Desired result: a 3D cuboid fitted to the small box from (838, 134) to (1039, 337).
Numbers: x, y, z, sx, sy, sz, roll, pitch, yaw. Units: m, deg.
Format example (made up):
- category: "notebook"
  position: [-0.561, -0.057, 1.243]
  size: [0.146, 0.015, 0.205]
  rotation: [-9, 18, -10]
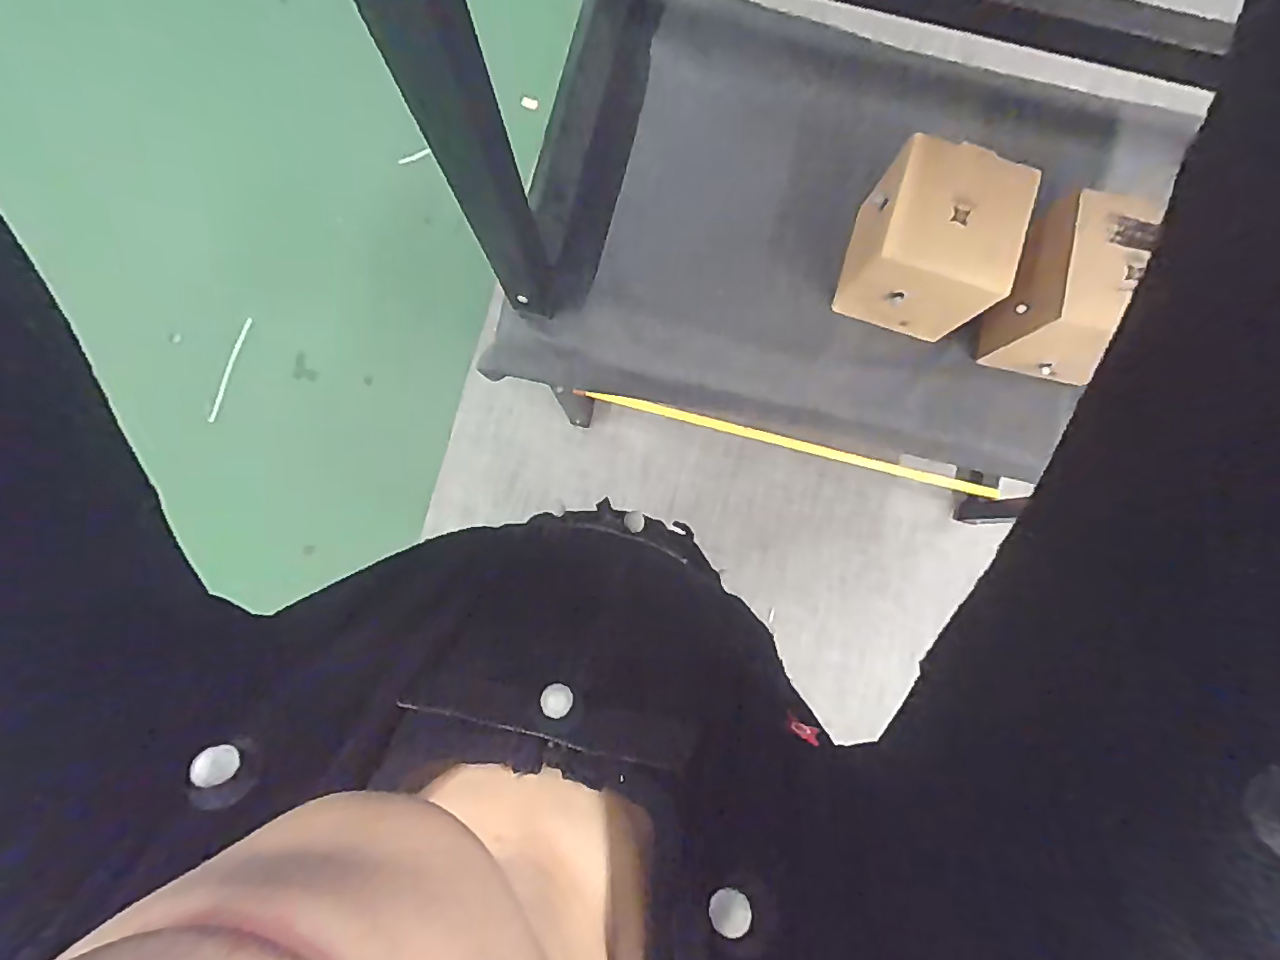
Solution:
- category: "small box"
  position: [0.395, -0.321, 0.748]
  size: [0.168, 0.176, 0.179]
  rotation: [18, 84, 1]
